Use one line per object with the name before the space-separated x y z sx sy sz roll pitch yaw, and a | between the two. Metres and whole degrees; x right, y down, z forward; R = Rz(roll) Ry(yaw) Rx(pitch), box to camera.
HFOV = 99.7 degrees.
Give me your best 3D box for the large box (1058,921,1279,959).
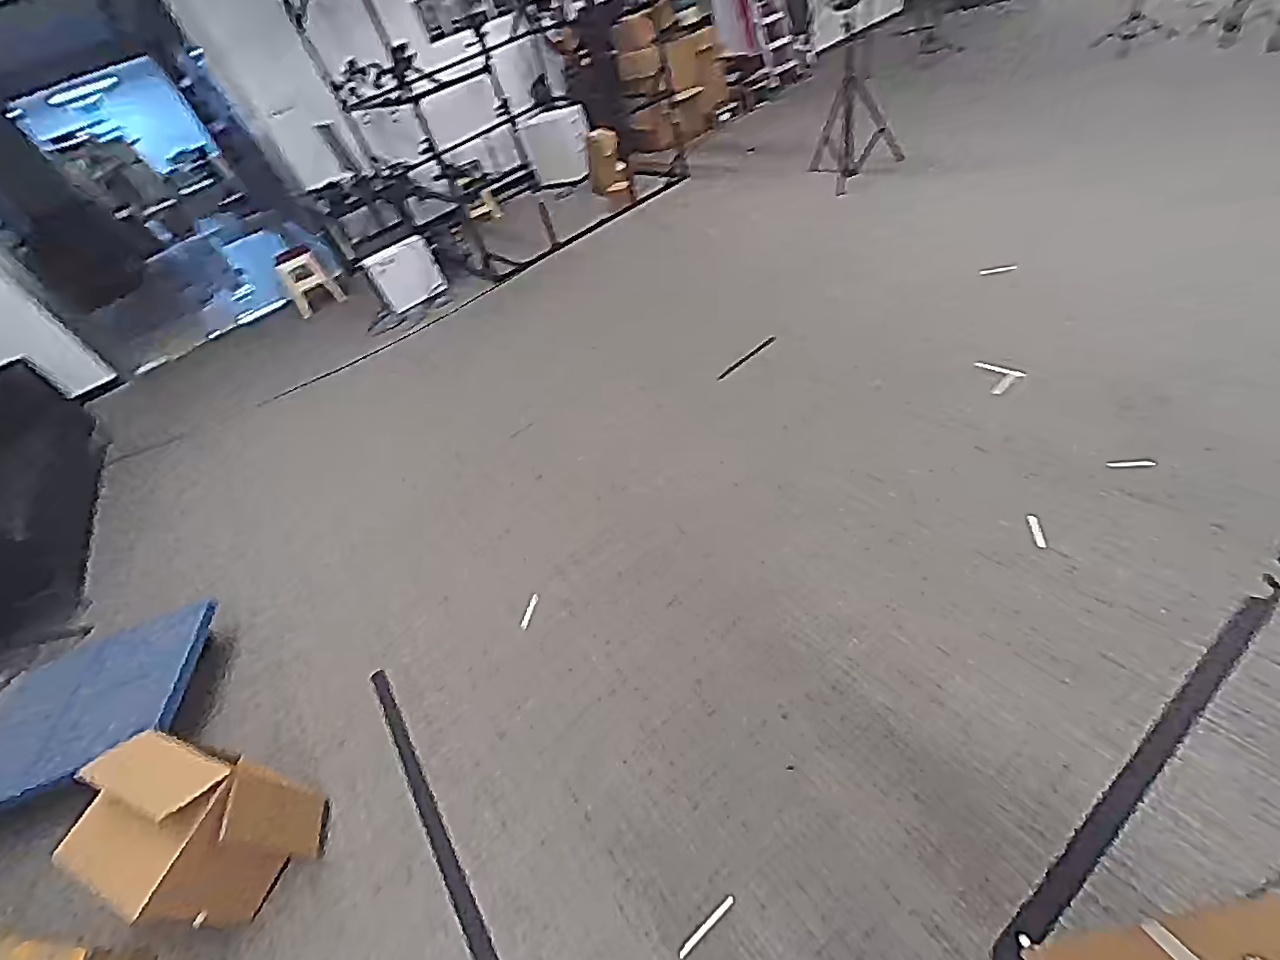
large box | 0.638 0.680 0.456 0.320 0.408 0.320 -22 71 12
